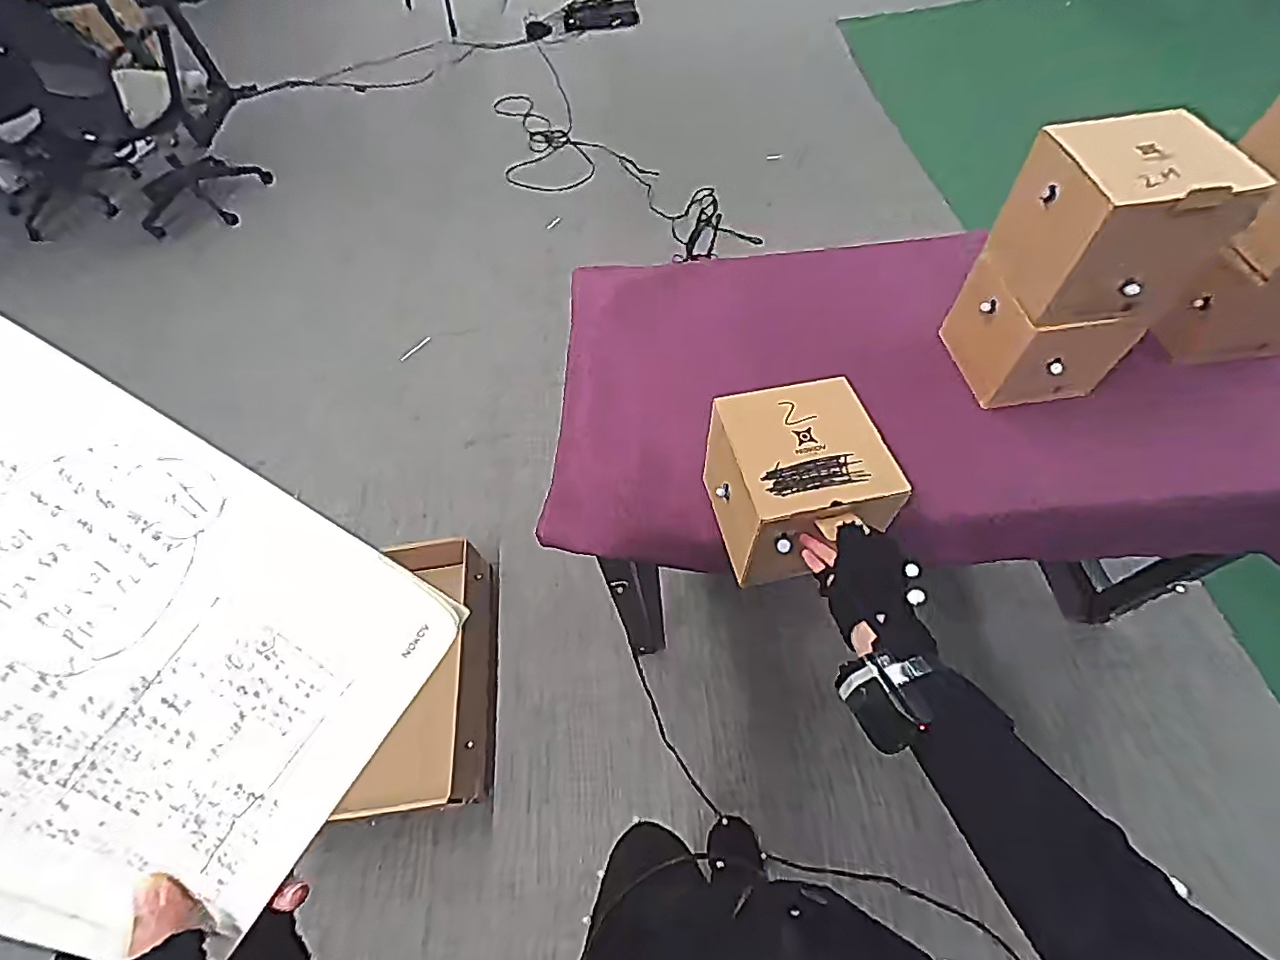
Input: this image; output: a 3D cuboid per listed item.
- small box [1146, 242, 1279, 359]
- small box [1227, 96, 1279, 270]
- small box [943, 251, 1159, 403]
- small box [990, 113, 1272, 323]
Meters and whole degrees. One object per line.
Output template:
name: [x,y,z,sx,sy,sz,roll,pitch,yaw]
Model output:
small box: [0.912,-0.300,0.824,0.168,0.176,0.179,-5,58,3]
small box: [0.891,-0.384,0.685,0.168,0.176,0.179,-5,59,2]
small box: [0.598,-0.232,0.818,0.168,0.176,0.179,-8,57,2]
small box: [0.585,-0.324,0.682,0.168,0.176,0.179,-5,58,4]
